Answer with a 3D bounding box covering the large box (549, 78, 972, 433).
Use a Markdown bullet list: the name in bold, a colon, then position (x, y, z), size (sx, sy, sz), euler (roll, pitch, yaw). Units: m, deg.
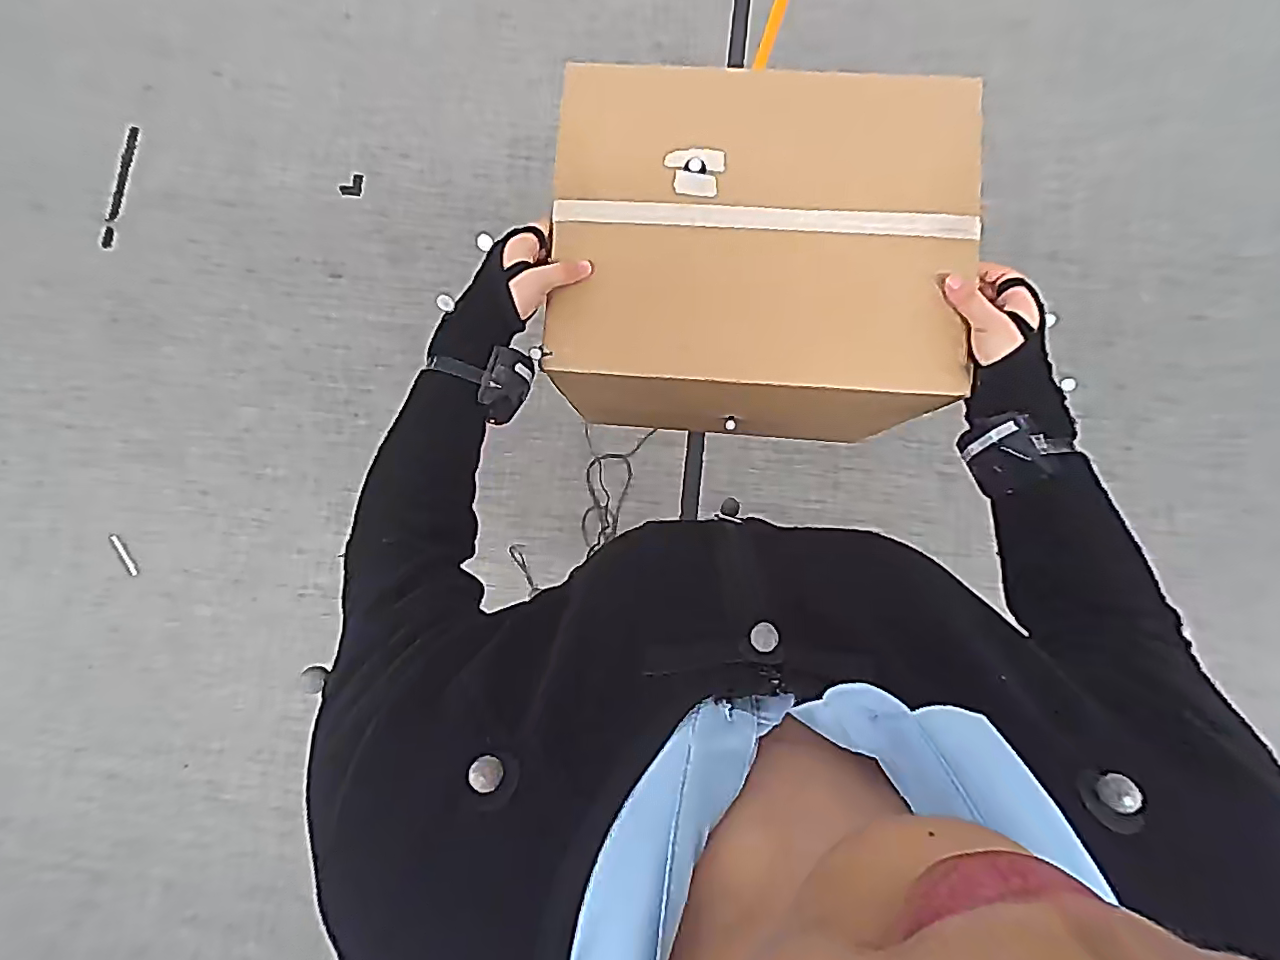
- **large box**: position (0.128, -0.238, 0.677), size (0.408, 0.320, 0.320), euler (4, 85, 4)
